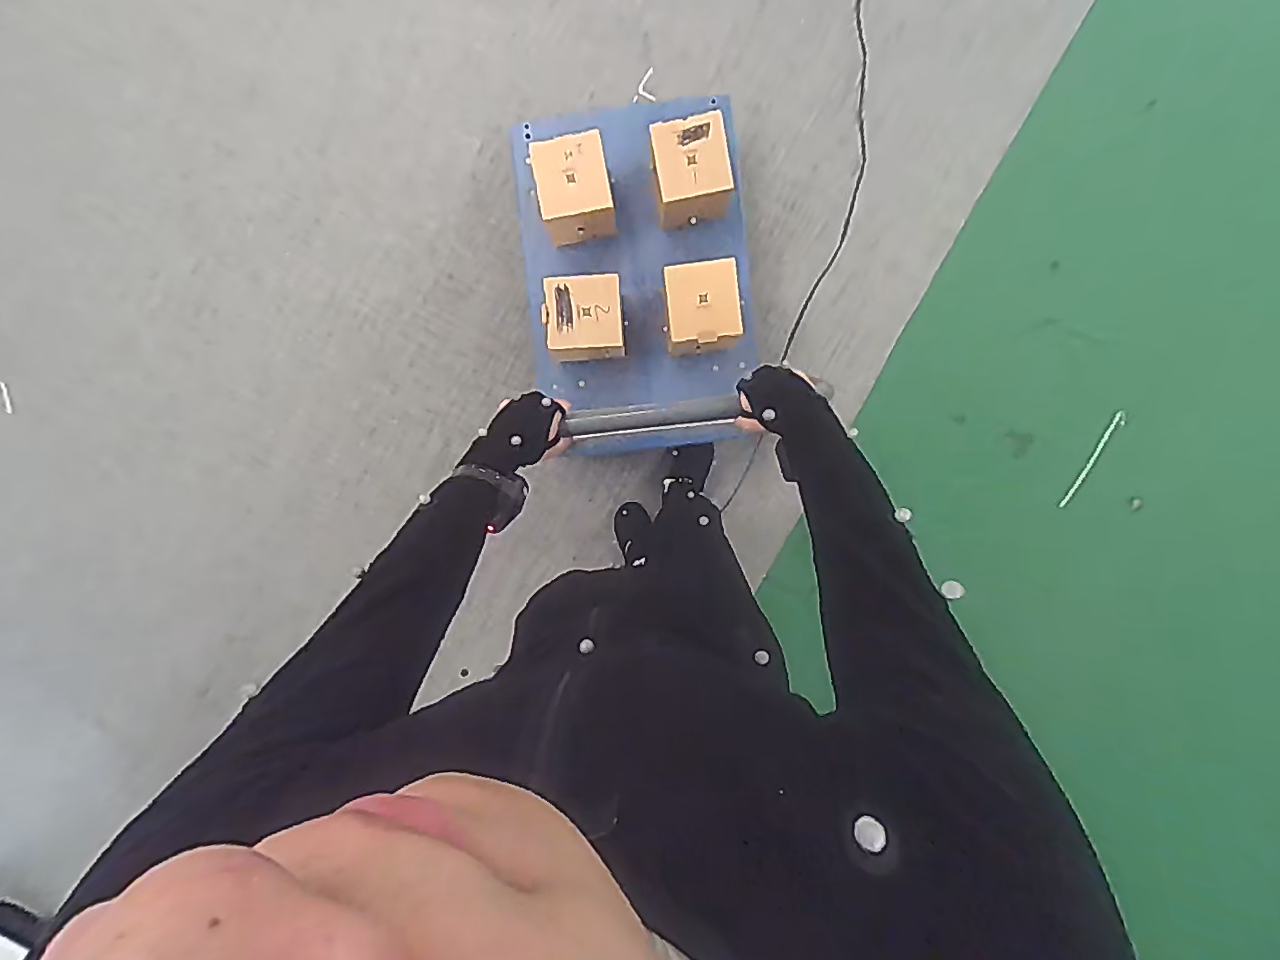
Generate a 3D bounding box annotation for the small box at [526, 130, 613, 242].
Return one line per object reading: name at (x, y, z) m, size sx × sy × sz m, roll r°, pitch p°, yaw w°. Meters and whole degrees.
small box at (-0.161, -0.690, 1.294) m, size 0.168 × 0.176 × 0.179 m, roll -10°, pitch 94°, yaw 1°

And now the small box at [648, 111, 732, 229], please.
small box at (0.113, -0.729, 1.288) m, size 0.168 × 0.176 × 0.179 m, roll -11°, pitch 95°, yaw 2°

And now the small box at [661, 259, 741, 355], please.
small box at (0.141, -0.413, 1.311) m, size 0.168 × 0.176 × 0.179 m, roll -7°, pitch 94°, yaw 1°
